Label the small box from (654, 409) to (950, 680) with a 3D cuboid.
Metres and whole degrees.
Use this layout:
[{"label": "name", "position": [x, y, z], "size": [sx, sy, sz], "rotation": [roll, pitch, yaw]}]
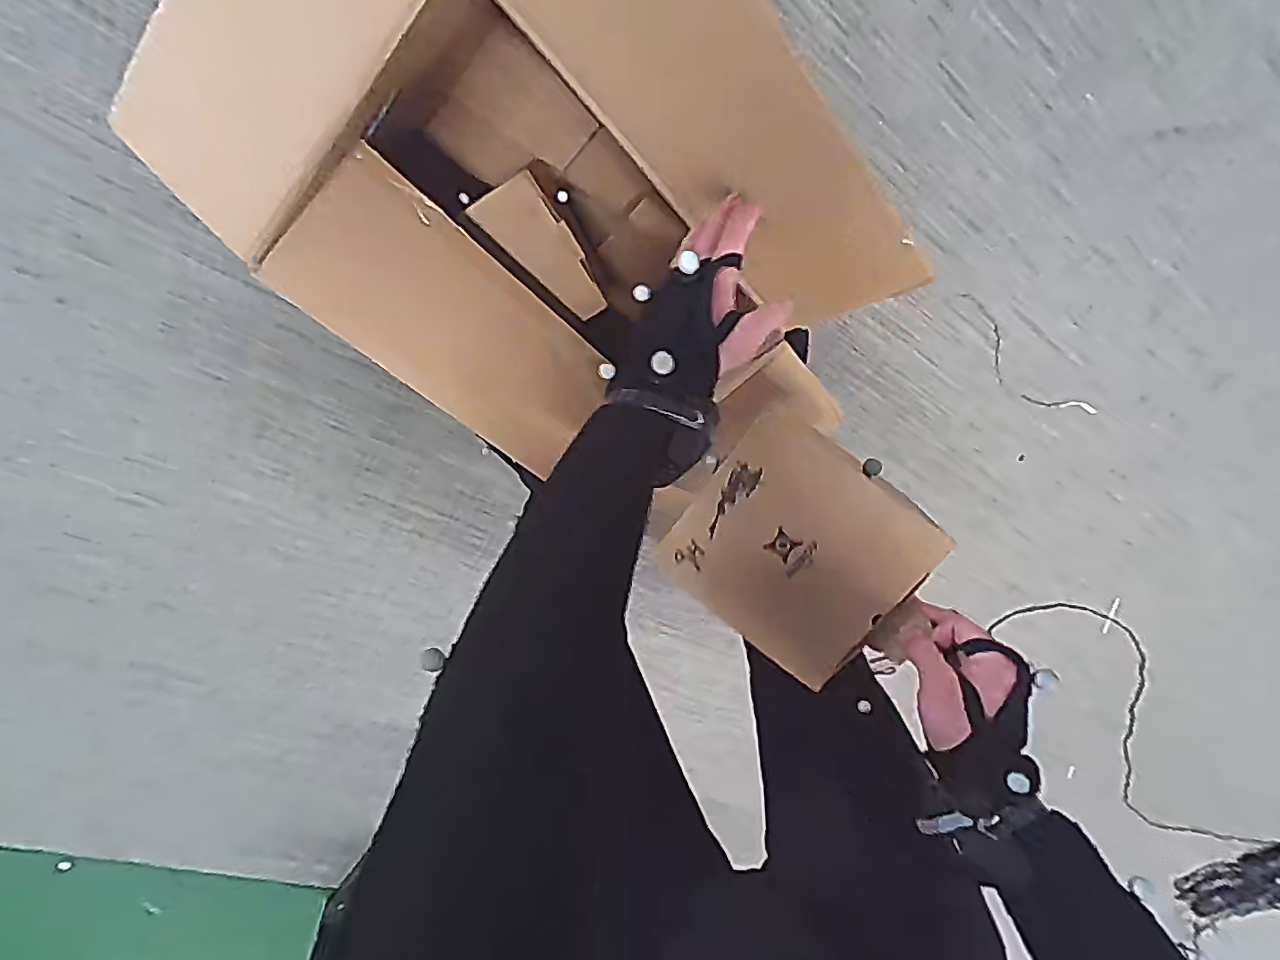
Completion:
[{"label": "small box", "position": [0.146, 0.042, 0.513], "size": [0.179, 0.176, 0.168], "rotation": [37, 108, 9]}]
